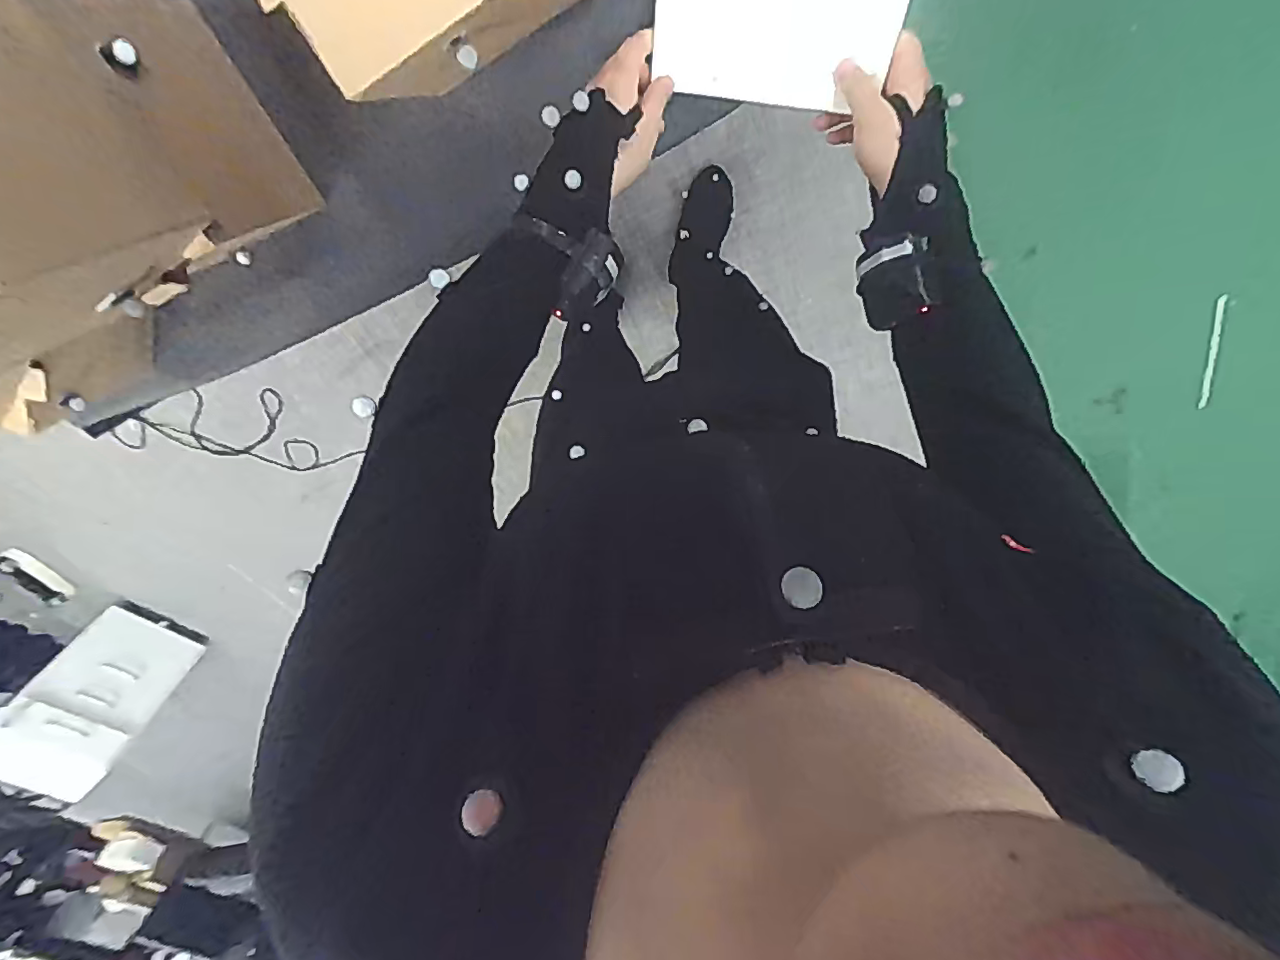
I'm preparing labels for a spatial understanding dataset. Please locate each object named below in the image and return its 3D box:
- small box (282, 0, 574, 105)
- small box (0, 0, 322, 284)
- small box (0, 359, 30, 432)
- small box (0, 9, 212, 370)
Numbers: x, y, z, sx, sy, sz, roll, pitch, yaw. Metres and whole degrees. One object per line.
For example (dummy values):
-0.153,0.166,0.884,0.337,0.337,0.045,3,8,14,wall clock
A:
-0.150,-0.392,0.366,0.179,0.176,0.168,-18,123,21,small box
-0.440,-0.285,0.482,0.168,0.176,0.179,-15,125,18,small box
-0.700,-0.084,0.461,0.179,0.176,0.168,-31,119,28,small box
-0.451,-0.186,0.354,0.168,0.176,0.179,-25,122,25,small box
